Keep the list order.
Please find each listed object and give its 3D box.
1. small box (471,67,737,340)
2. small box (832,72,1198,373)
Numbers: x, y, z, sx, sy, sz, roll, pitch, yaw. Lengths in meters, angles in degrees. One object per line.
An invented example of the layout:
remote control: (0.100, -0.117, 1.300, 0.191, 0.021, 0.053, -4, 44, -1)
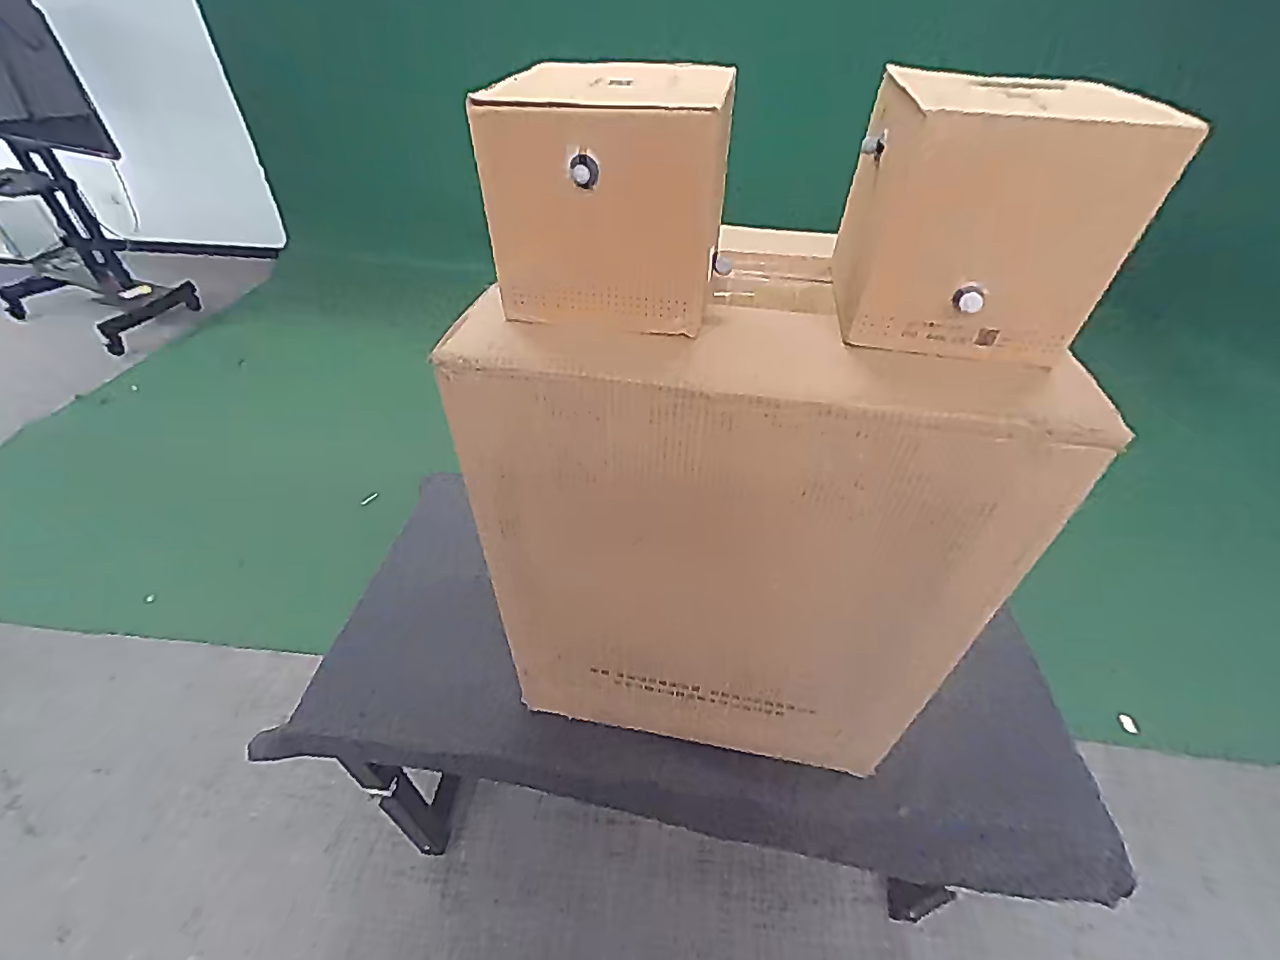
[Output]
small box: (-0.019, -0.239, 0.470, 0.179, 0.176, 0.168, 9, 46, 6)
small box: (0.267, -0.214, 0.447, 0.168, 0.176, 0.179, 9, 45, 6)
